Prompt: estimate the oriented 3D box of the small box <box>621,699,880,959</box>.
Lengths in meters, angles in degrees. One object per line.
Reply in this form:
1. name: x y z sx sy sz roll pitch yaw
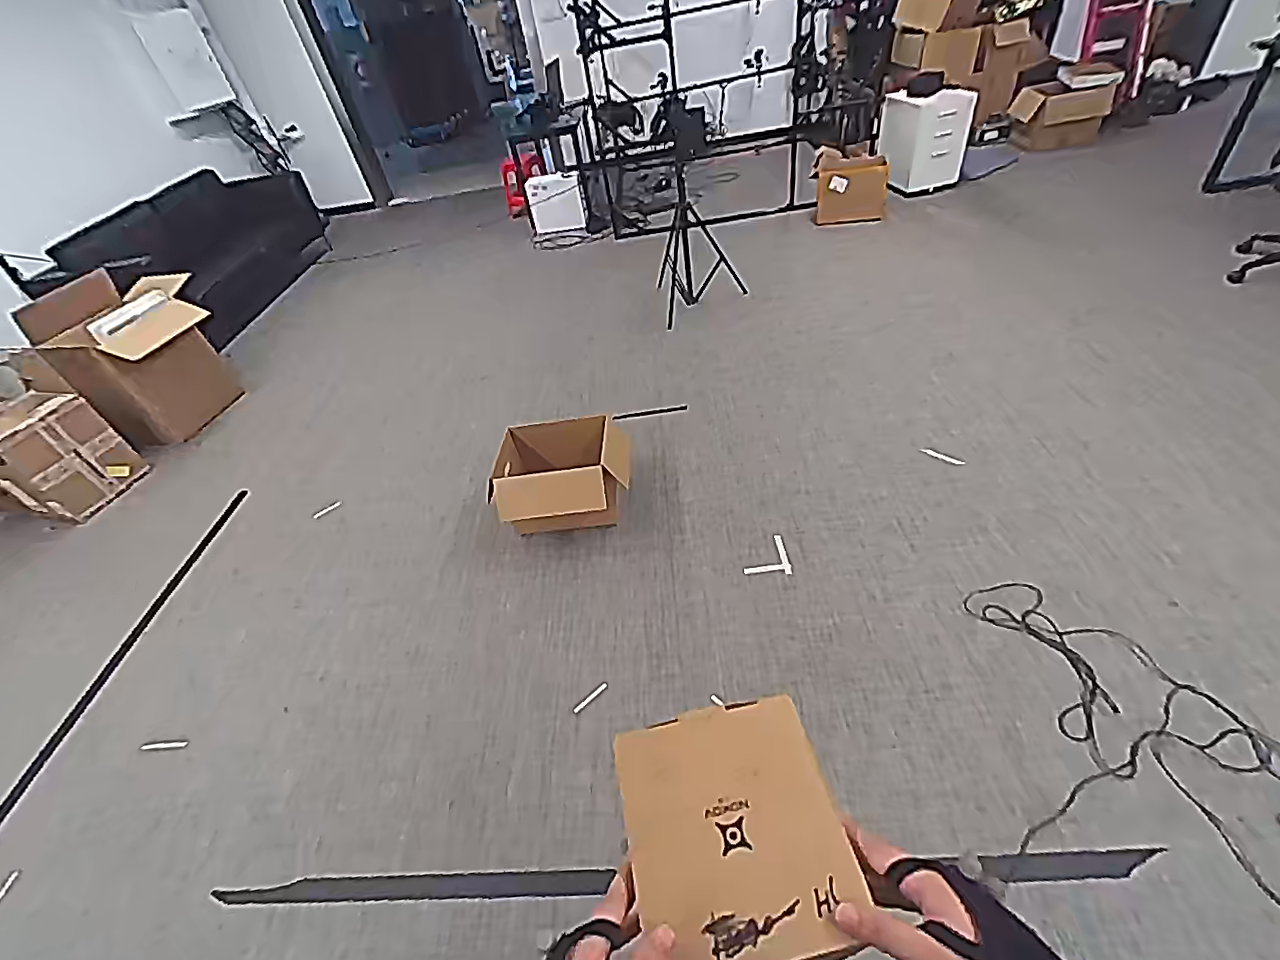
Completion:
1. small box: 0.082 0.330 0.488 0.168 0.176 0.179 -12 45 -3
